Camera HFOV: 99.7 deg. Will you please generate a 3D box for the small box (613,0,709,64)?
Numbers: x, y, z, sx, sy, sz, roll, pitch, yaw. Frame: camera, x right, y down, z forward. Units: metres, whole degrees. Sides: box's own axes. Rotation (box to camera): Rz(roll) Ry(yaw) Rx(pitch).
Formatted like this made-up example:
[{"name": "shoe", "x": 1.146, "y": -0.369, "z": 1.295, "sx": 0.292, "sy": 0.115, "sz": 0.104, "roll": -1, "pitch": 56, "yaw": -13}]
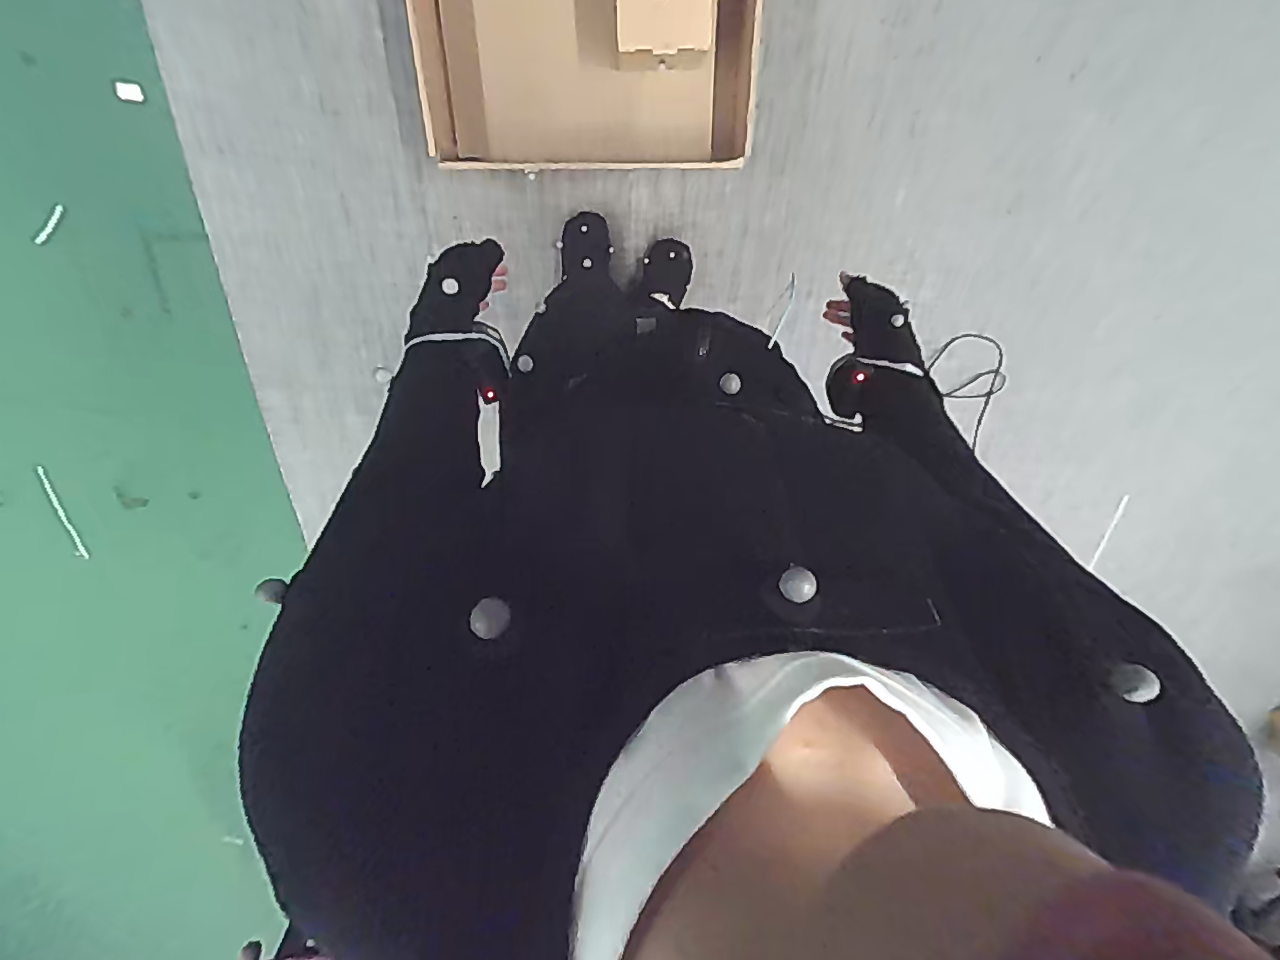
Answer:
[{"name": "small box", "x": 0.035, "y": -0.871, "z": 0.971, "sx": 0.168, "sy": 0.176, "sz": 0.179, "roll": -4, "pitch": 117, "yaw": 2}]
